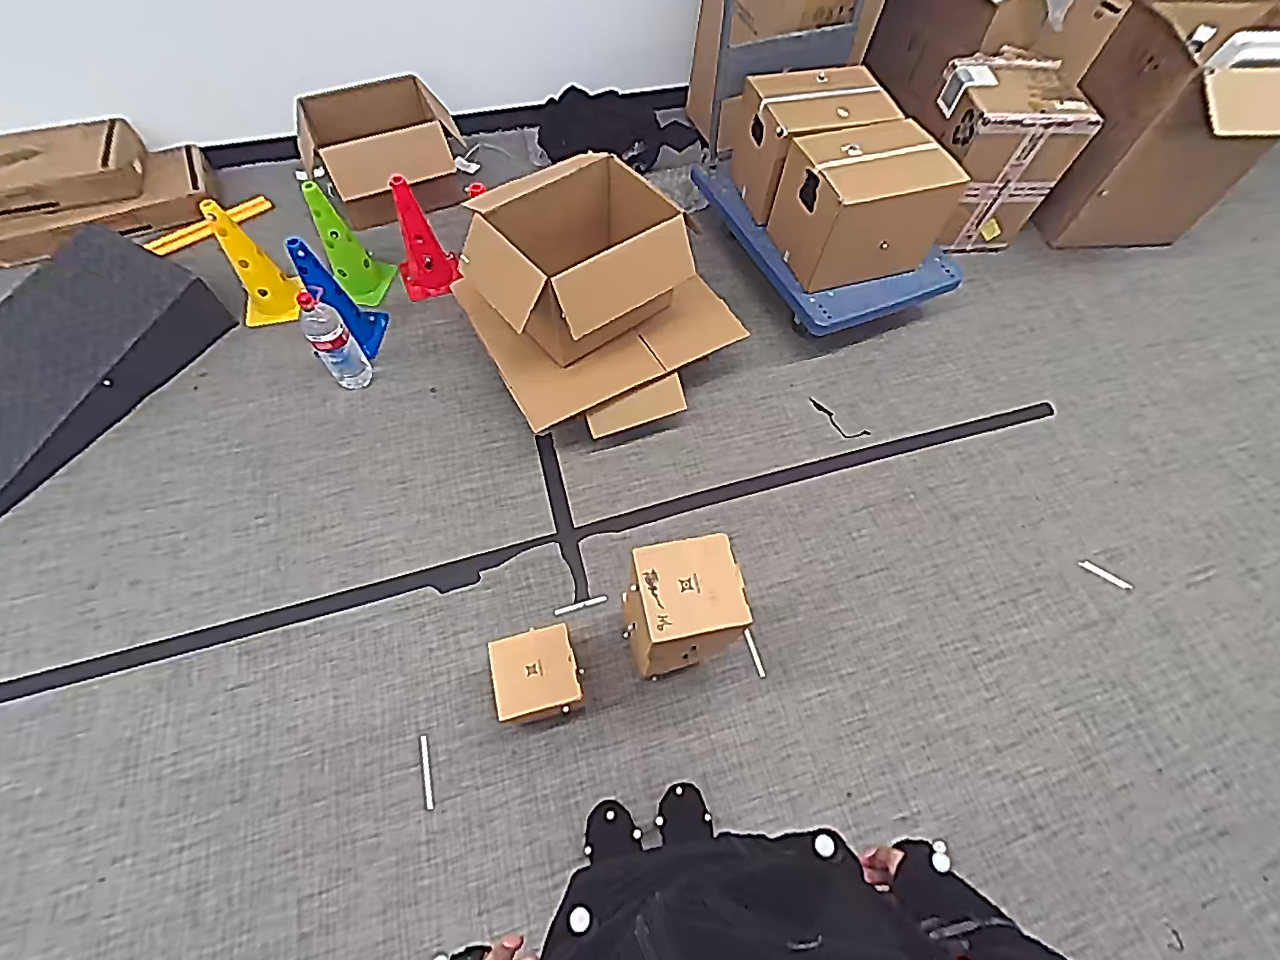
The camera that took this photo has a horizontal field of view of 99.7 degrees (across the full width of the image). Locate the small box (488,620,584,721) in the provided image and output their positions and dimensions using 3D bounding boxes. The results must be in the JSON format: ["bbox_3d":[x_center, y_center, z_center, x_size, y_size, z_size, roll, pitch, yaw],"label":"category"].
[{"bbox_3d":[-0.230,0.435,1.220,0.179,0.176,0.168,-13,64,-10],"label":"small box"}]

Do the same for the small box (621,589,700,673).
[{"bbox_3d":[0.054,0.346,1.281,0.168,0.176,0.179,-14,64,-11],"label":"small box"}]

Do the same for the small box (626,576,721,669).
[{"bbox_3d":[0.072,0.284,1.129,0.179,0.176,0.168,-11,64,-10],"label":"small box"}]

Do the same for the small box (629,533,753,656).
[{"bbox_3d":[0.082,0.212,0.982,0.179,0.176,0.168,-8,64,-9],"label":"small box"}]
